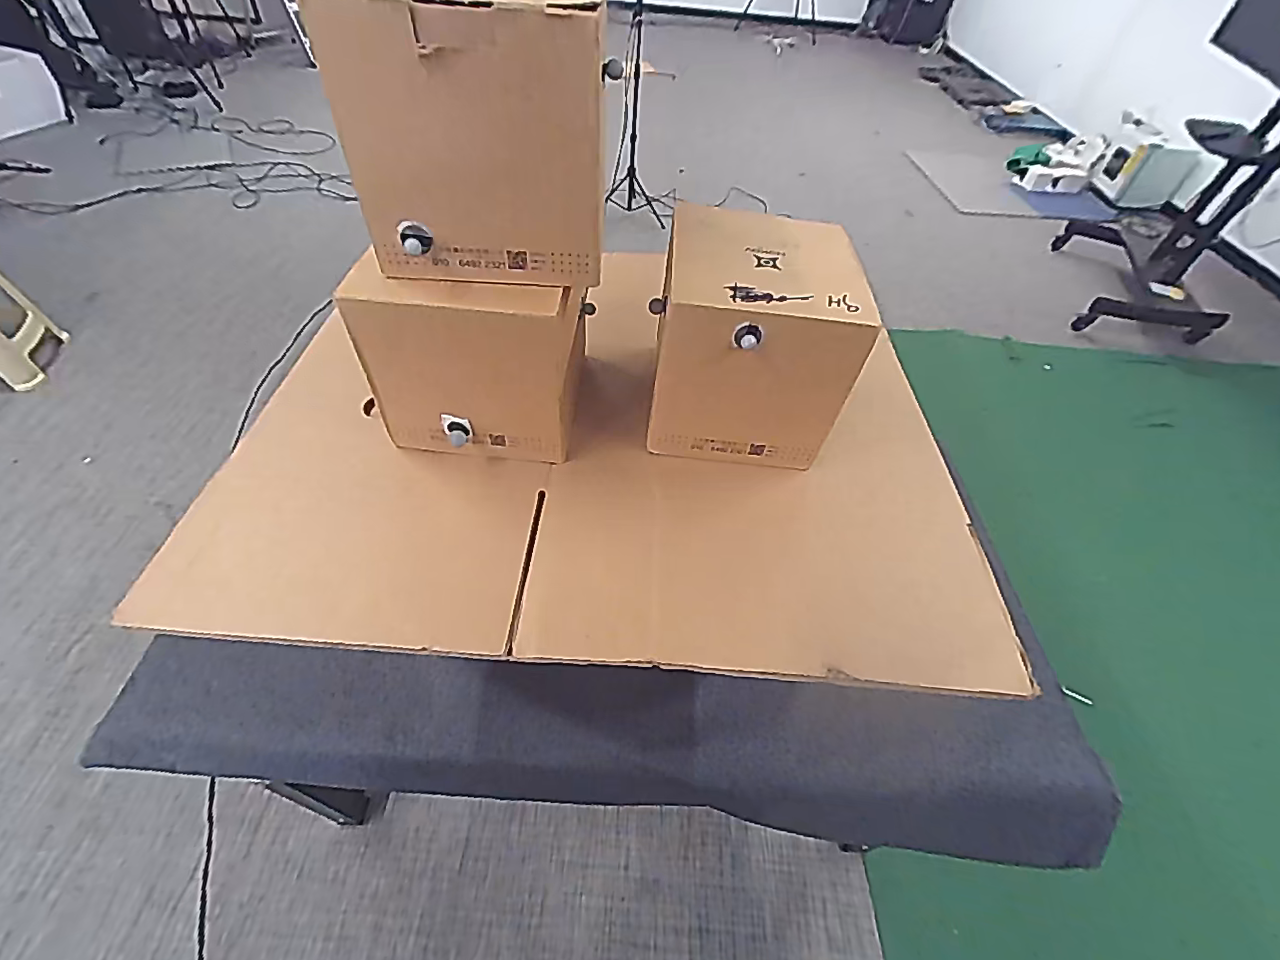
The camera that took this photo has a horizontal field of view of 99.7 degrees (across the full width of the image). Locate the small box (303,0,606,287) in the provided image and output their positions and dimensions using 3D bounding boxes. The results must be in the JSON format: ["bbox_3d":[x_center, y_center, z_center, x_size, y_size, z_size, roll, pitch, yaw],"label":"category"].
[{"bbox_3d":[-0.112,-0.267,0.417,0.168,0.176,0.179,2,48,-3],"label":"small box"}]

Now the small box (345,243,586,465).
[{"bbox_3d":[-0.143,-0.138,0.521,0.168,0.176,0.179,4,51,-1],"label":"small box"}]

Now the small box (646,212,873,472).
[{"bbox_3d":[0.098,-0.133,0.531,0.168,0.176,0.179,6,49,-1],"label":"small box"}]
